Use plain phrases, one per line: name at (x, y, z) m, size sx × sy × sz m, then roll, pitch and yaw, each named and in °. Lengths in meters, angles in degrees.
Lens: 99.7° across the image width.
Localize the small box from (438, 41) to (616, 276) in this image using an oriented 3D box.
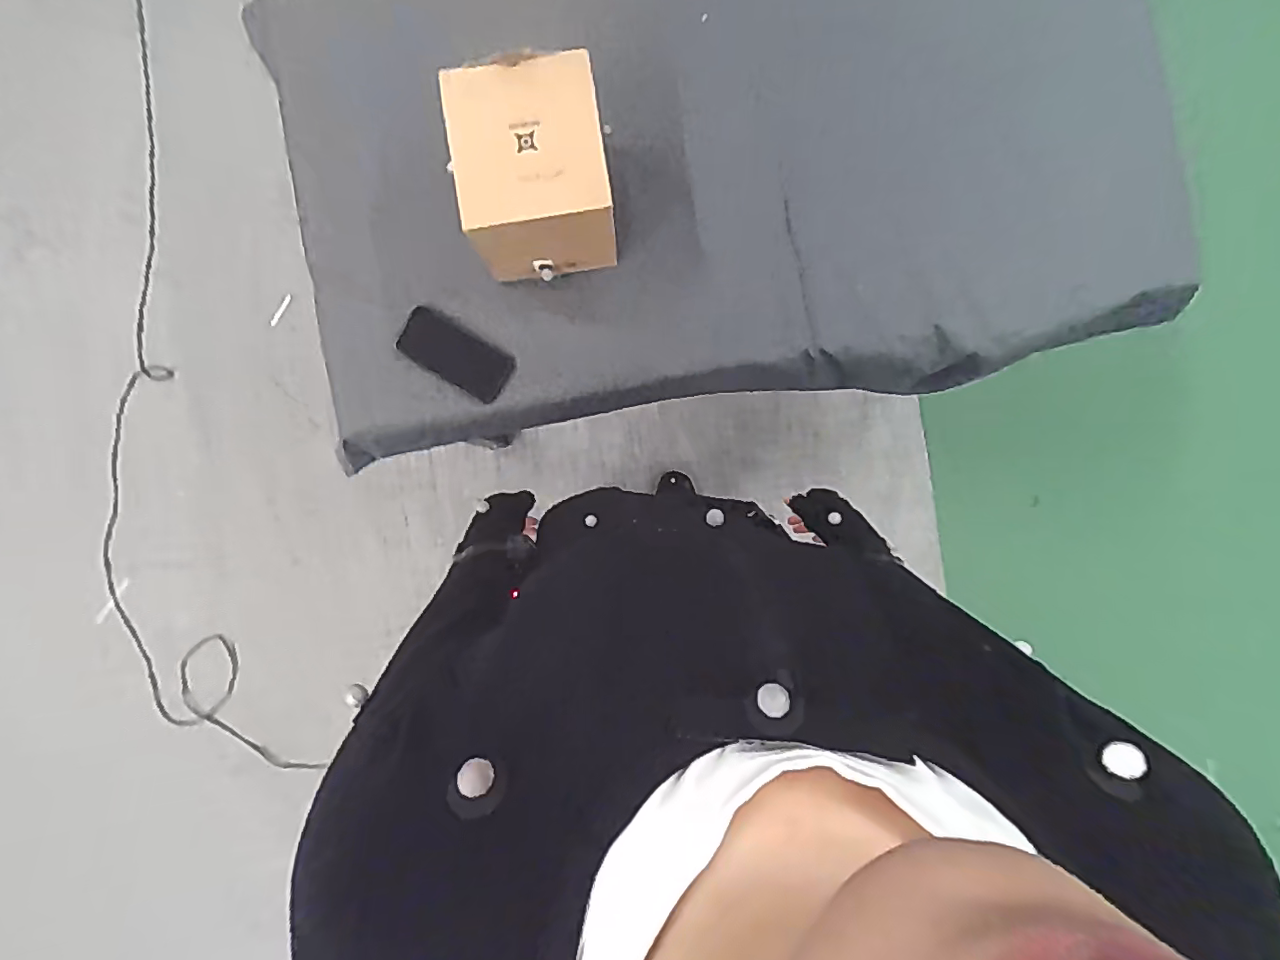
small box at (-0.123, -0.373, 0.656) m, size 0.168 × 0.176 × 0.179 m, roll -10°, pitch 92°, yaw 0°
